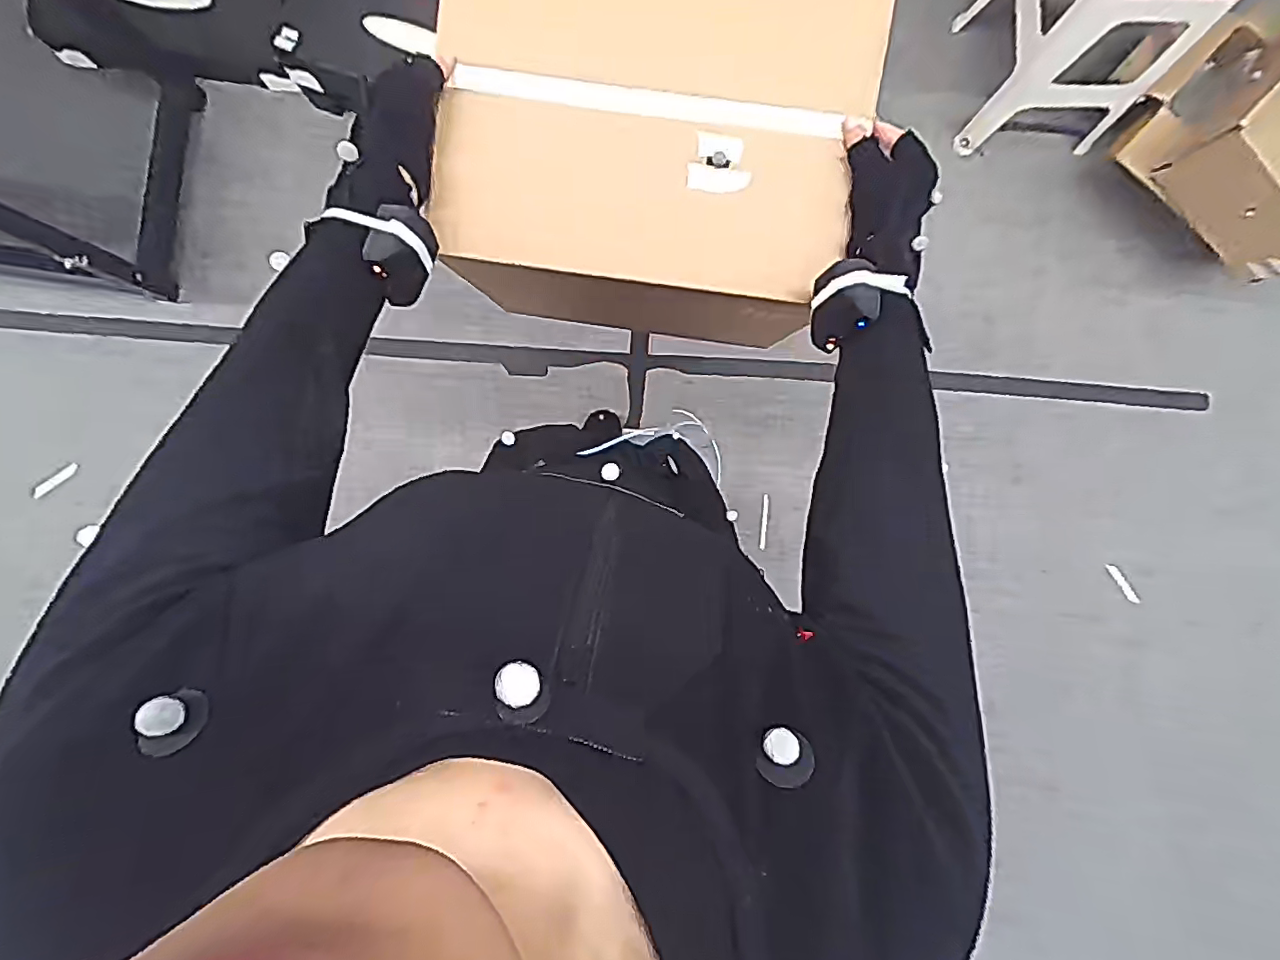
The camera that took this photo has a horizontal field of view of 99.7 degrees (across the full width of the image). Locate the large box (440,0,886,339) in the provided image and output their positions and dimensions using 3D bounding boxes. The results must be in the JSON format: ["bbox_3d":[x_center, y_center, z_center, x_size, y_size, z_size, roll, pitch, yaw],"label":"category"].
[{"bbox_3d":[0.015,-0.369,0.660,0.408,0.320,0.320,7,97,-1],"label":"large box"}]
